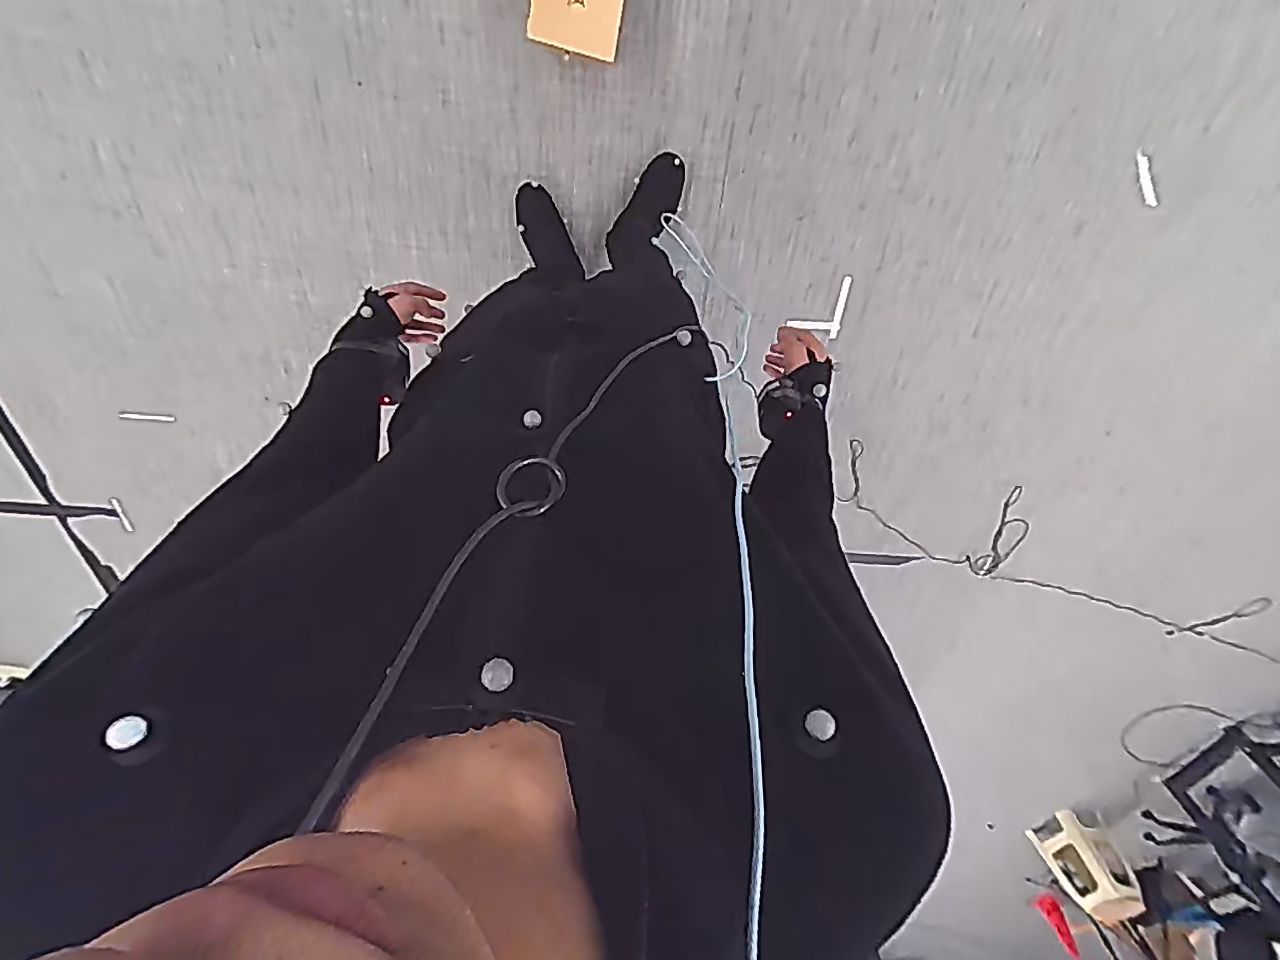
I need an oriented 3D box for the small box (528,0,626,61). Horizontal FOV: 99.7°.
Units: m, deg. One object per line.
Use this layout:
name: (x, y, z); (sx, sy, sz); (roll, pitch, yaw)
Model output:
small box: (-0.118, -0.962, 1.083); (0.179, 0.176, 0.168); (10, 124, -9)
